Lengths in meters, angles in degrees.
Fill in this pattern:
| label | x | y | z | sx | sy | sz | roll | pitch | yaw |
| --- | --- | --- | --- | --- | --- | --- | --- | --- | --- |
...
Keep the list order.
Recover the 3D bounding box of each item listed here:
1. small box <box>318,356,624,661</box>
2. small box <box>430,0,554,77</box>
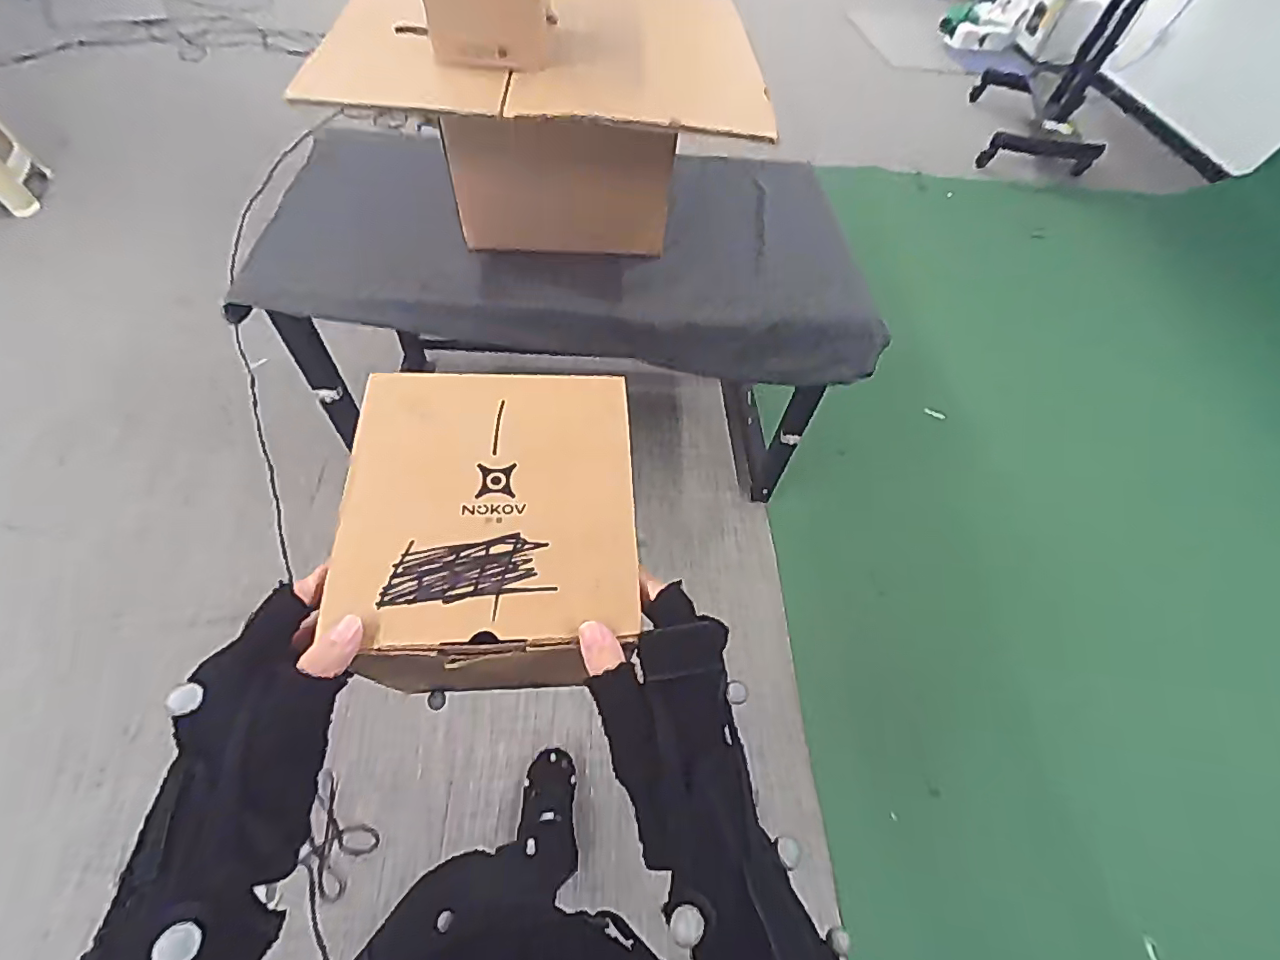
| label | x | y | z | sx | sy | sz | roll | pitch | yaw |
| --- | --- | --- | --- | --- | --- | --- | --- | --- | --- |
| small box | -0.099 | 0.032 | 0.398 | 0.168 | 0.176 | 0.179 | 0 | 61 | -7 |
| small box | -0.219 | -0.741 | 0.810 | 0.168 | 0.176 | 0.179 | 1 | 56 | -4 |
